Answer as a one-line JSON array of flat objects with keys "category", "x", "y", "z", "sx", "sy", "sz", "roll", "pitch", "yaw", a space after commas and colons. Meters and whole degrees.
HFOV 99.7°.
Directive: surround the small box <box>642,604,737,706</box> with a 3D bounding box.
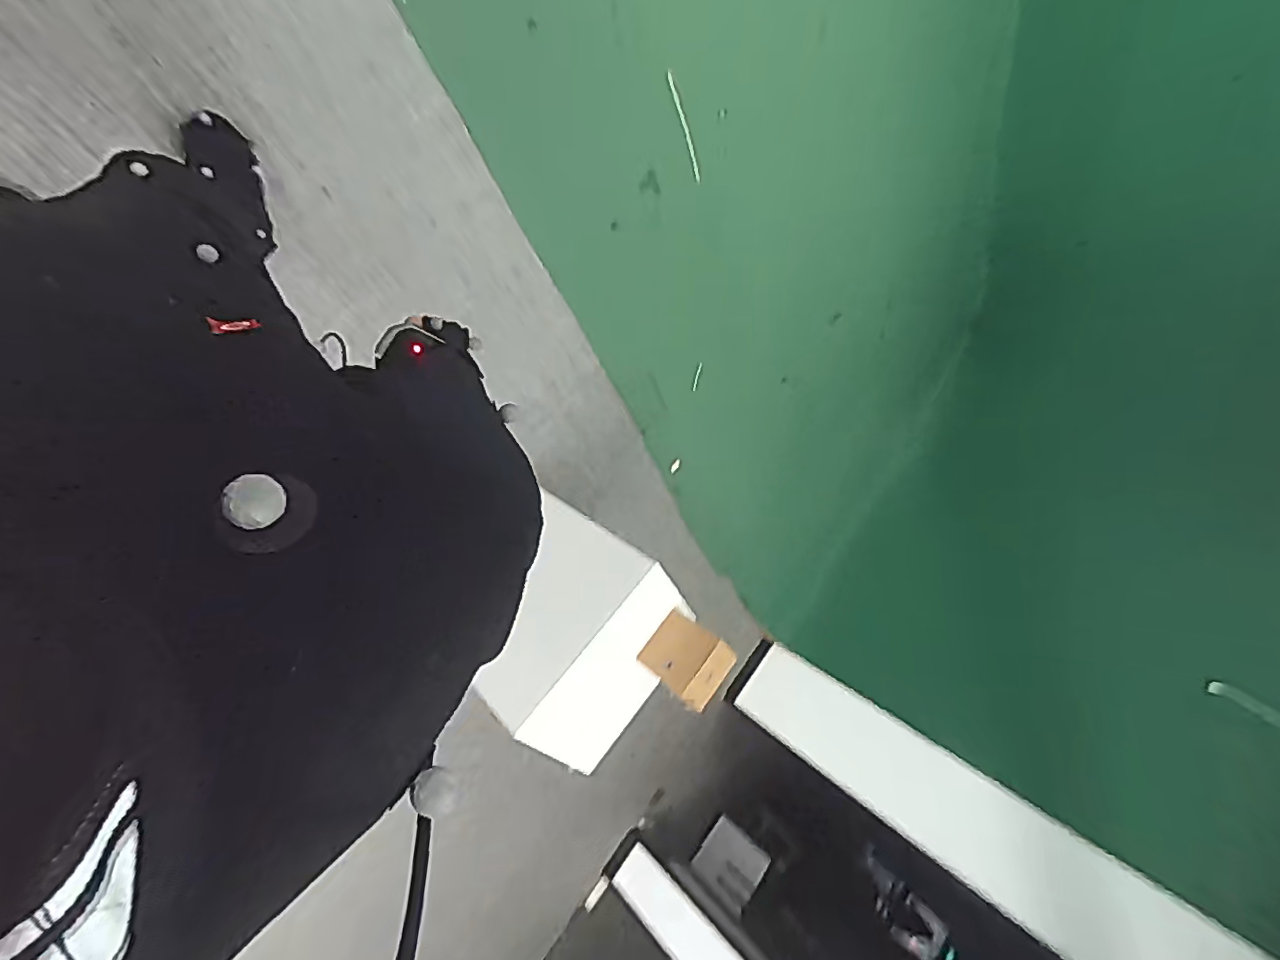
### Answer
[{"category": "small box", "x": 0.127, "y": 0.470, "z": 1.457, "sx": 0.179, "sy": 0.176, "sz": 0.168, "roll": -52, "pitch": 140, "yaw": -13}]
